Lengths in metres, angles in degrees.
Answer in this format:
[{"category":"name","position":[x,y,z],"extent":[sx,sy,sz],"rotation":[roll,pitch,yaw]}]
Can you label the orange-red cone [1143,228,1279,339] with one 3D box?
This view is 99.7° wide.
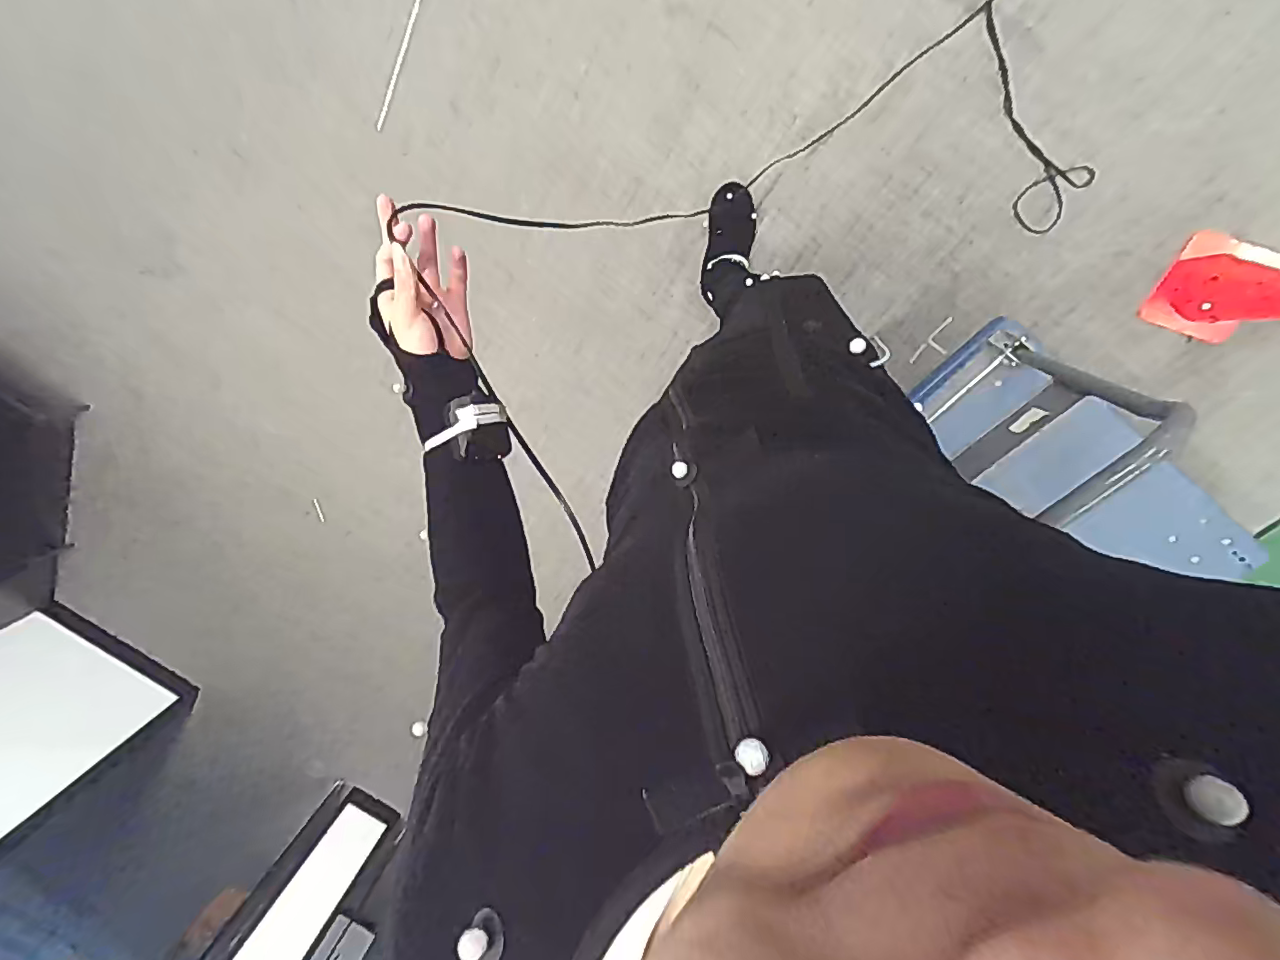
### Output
[{"category":"orange-red cone","position":[1.246,-0.368,1.058],"extent":[0.198,0.360,0.199],"rotation":[22,116,2]}]
